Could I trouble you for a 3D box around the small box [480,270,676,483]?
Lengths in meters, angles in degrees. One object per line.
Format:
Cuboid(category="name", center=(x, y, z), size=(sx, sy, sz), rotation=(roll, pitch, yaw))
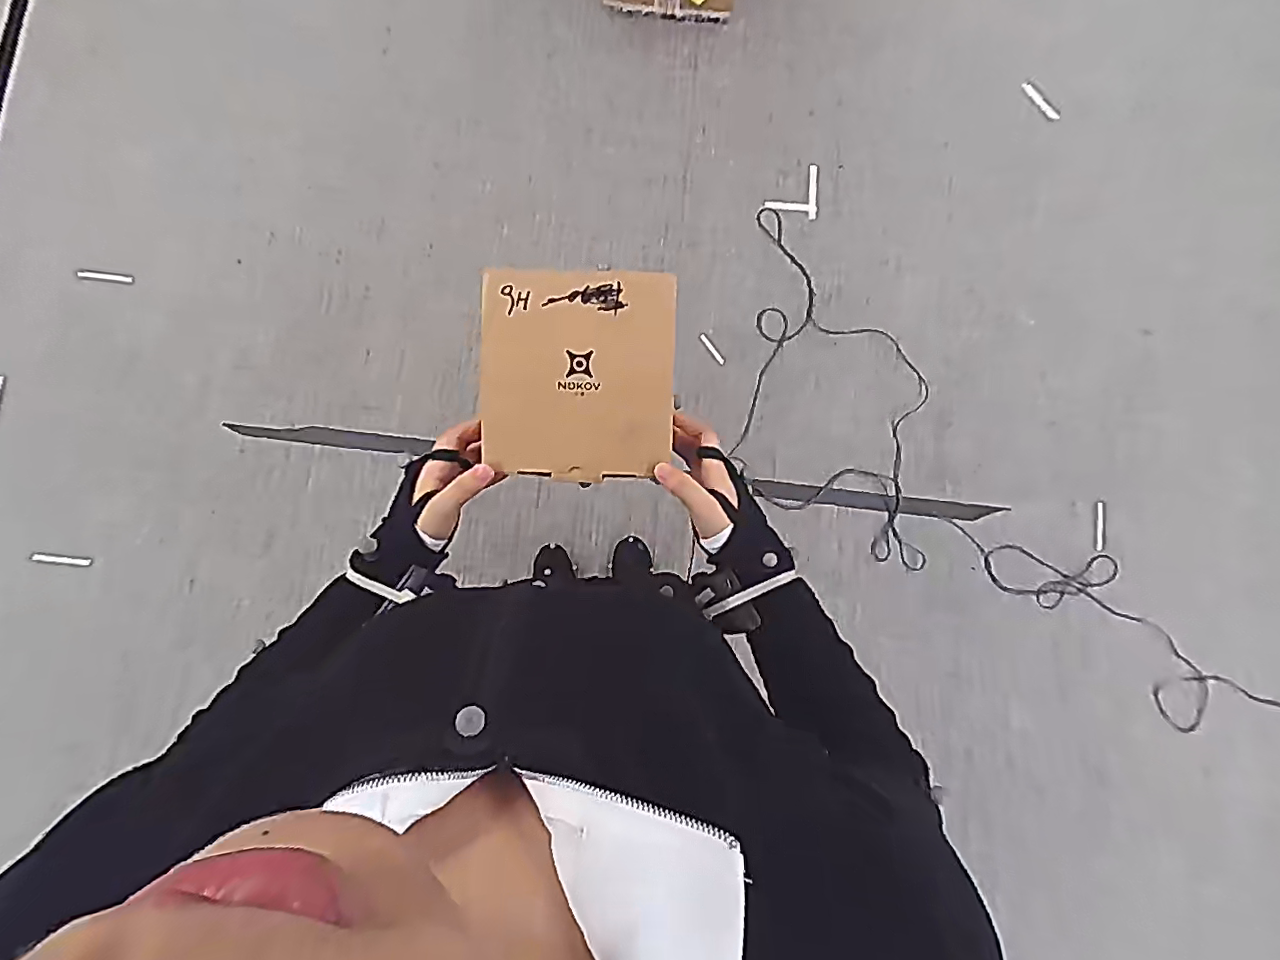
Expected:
Cuboid(category="small box", center=(-0.053, -0.095, 0.538), size=(0.168, 0.176, 0.179), rotation=(1, 95, 0))
